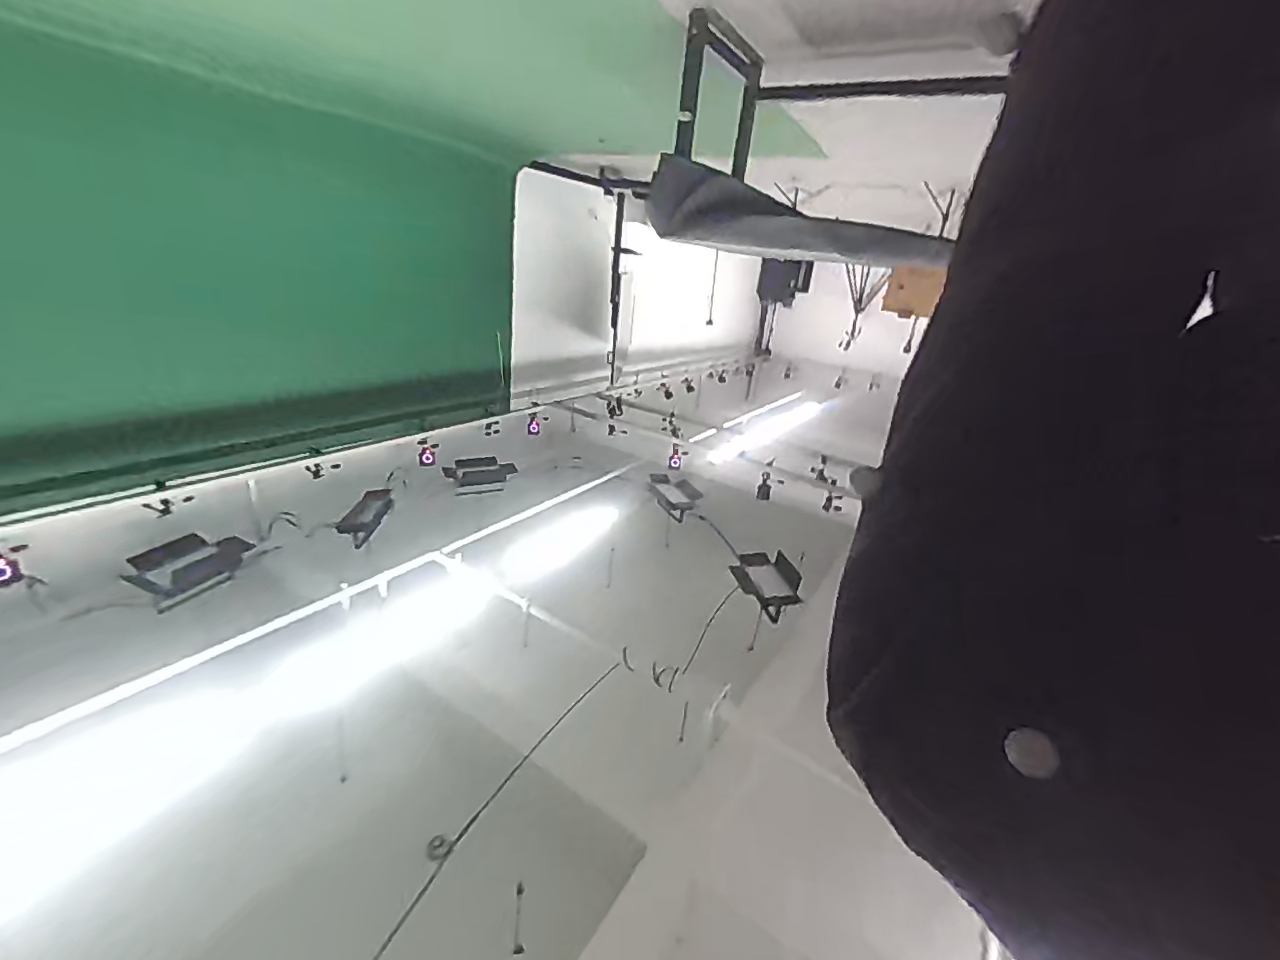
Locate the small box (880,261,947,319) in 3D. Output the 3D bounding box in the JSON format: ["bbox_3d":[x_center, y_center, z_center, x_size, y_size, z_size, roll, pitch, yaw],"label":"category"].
[{"bbox_3d":[0.945,-0.659,1.870,0.168,0.176,0.179,19,-153,24],"label":"small box"}]
